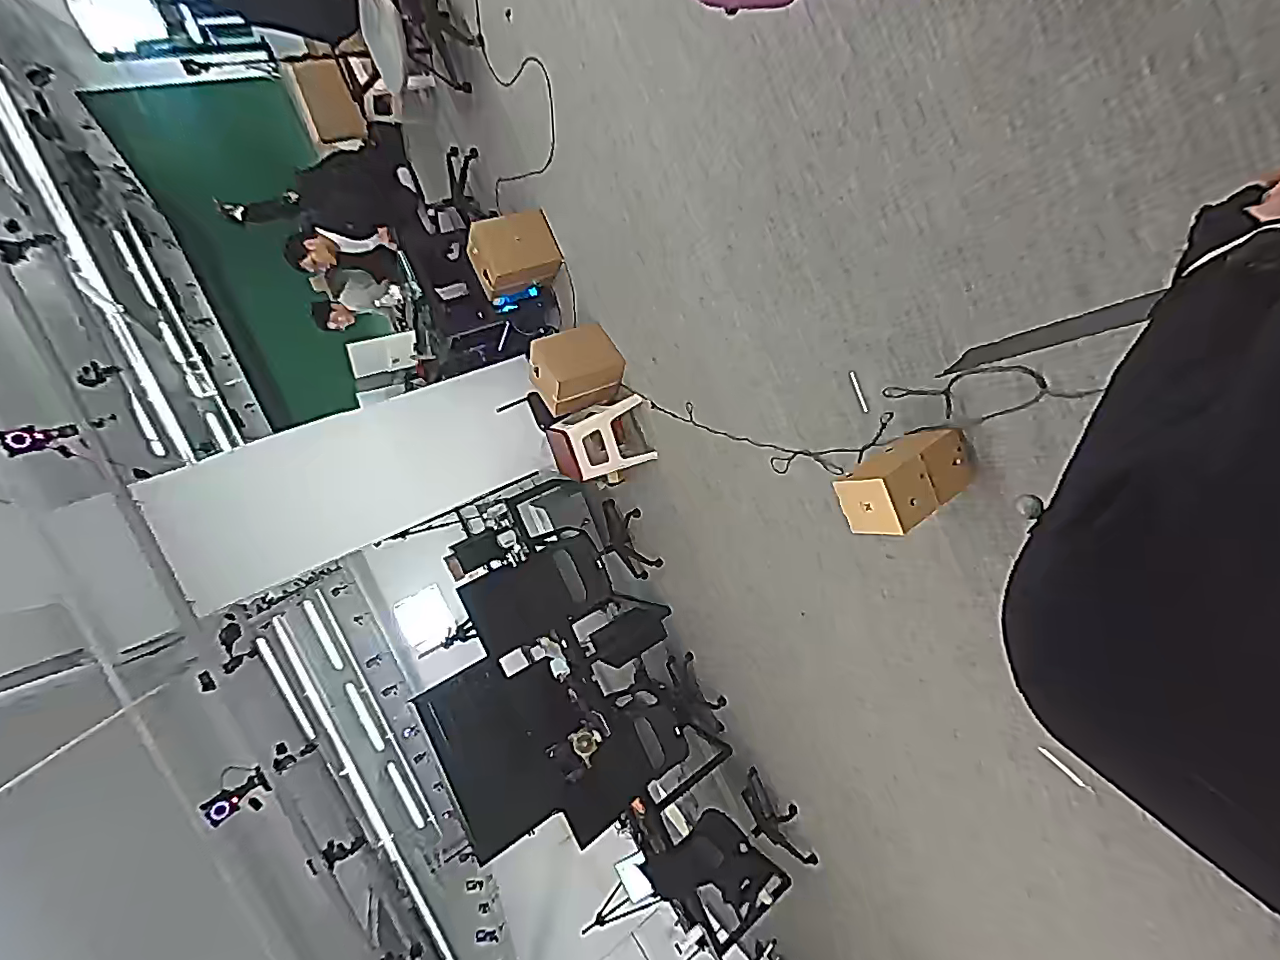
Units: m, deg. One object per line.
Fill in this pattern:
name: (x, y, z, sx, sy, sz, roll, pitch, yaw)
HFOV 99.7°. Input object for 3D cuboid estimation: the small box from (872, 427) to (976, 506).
small box: (0.807, -0.036, 1.536, 0.168, 0.176, 0.179, 64, 156, -8)

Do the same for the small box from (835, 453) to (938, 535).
small box: (0.676, 0.036, 1.471, 0.168, 0.176, 0.179, 65, 157, -7)
